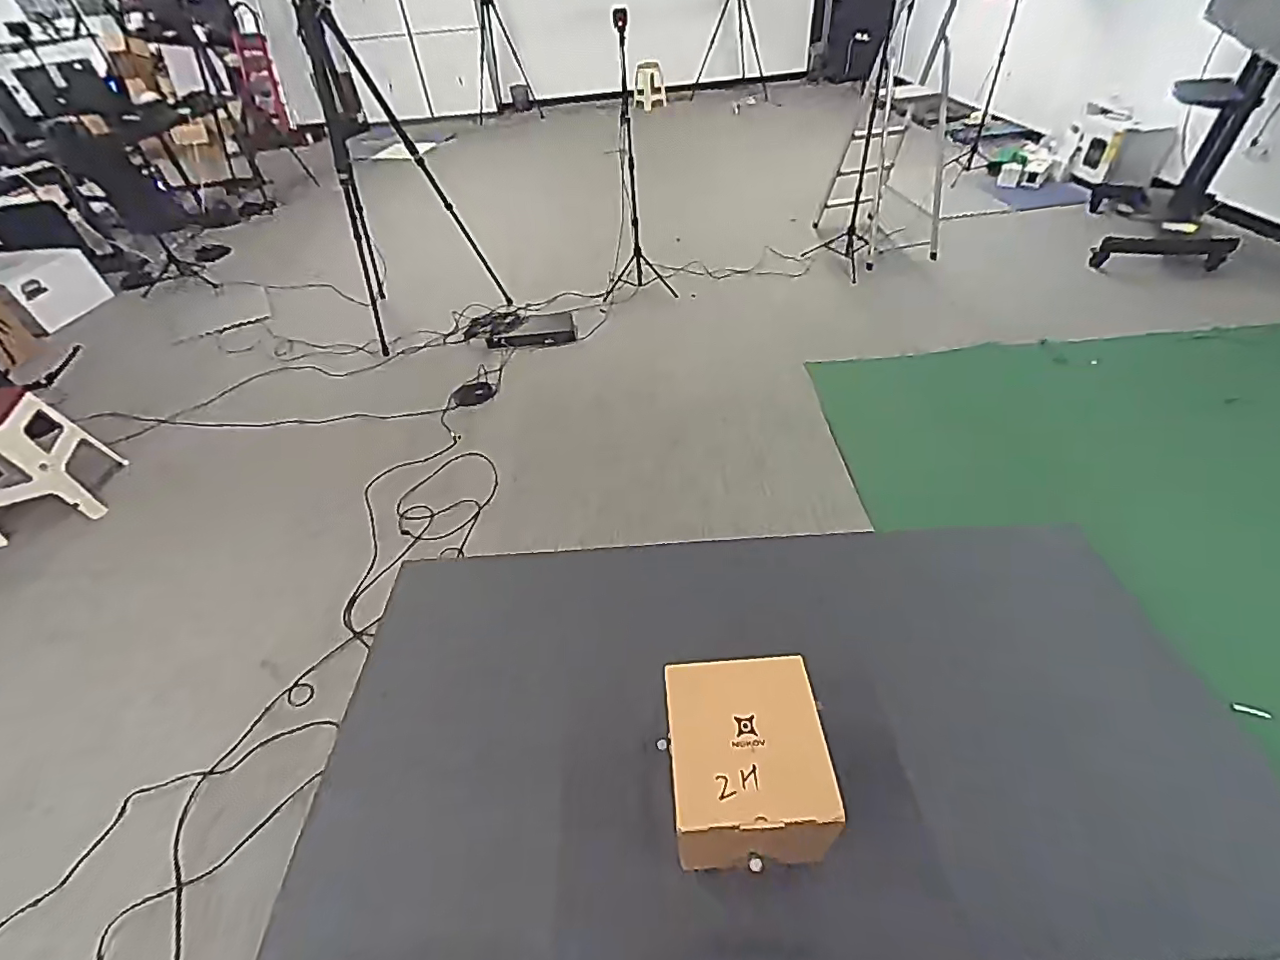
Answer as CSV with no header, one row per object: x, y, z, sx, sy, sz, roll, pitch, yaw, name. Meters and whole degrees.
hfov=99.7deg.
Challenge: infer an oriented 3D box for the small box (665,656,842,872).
0.117,0.332,0.635,0.168,0.176,0.179,-5,43,2,small box
